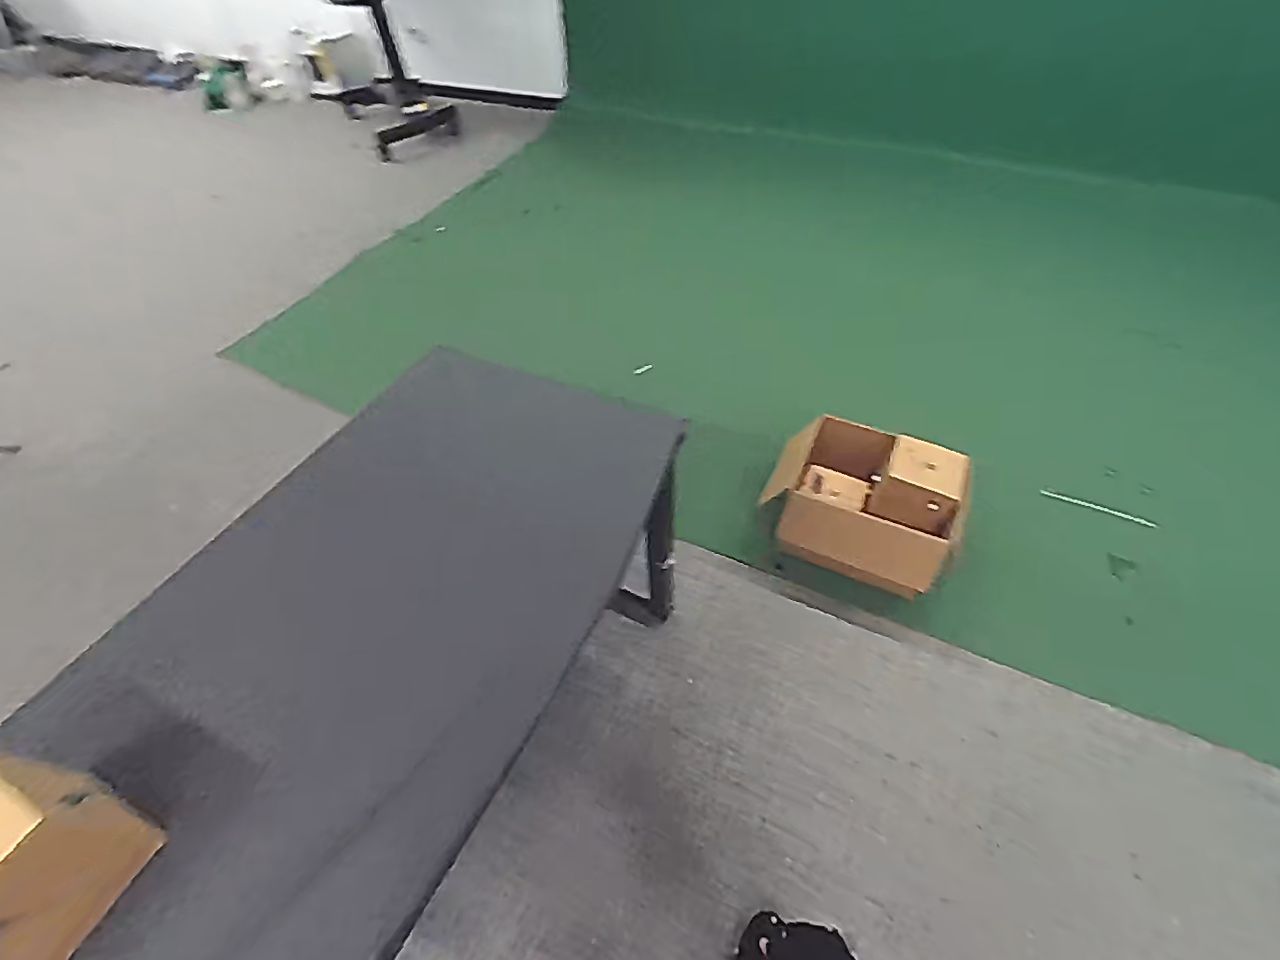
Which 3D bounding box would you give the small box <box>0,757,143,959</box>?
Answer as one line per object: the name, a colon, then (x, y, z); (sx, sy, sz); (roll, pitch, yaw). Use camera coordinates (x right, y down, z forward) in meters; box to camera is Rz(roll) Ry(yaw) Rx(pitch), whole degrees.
small box: (-0.667, 0.399, 0.544); (0.168, 0.176, 0.179); (19, 56, 16)
